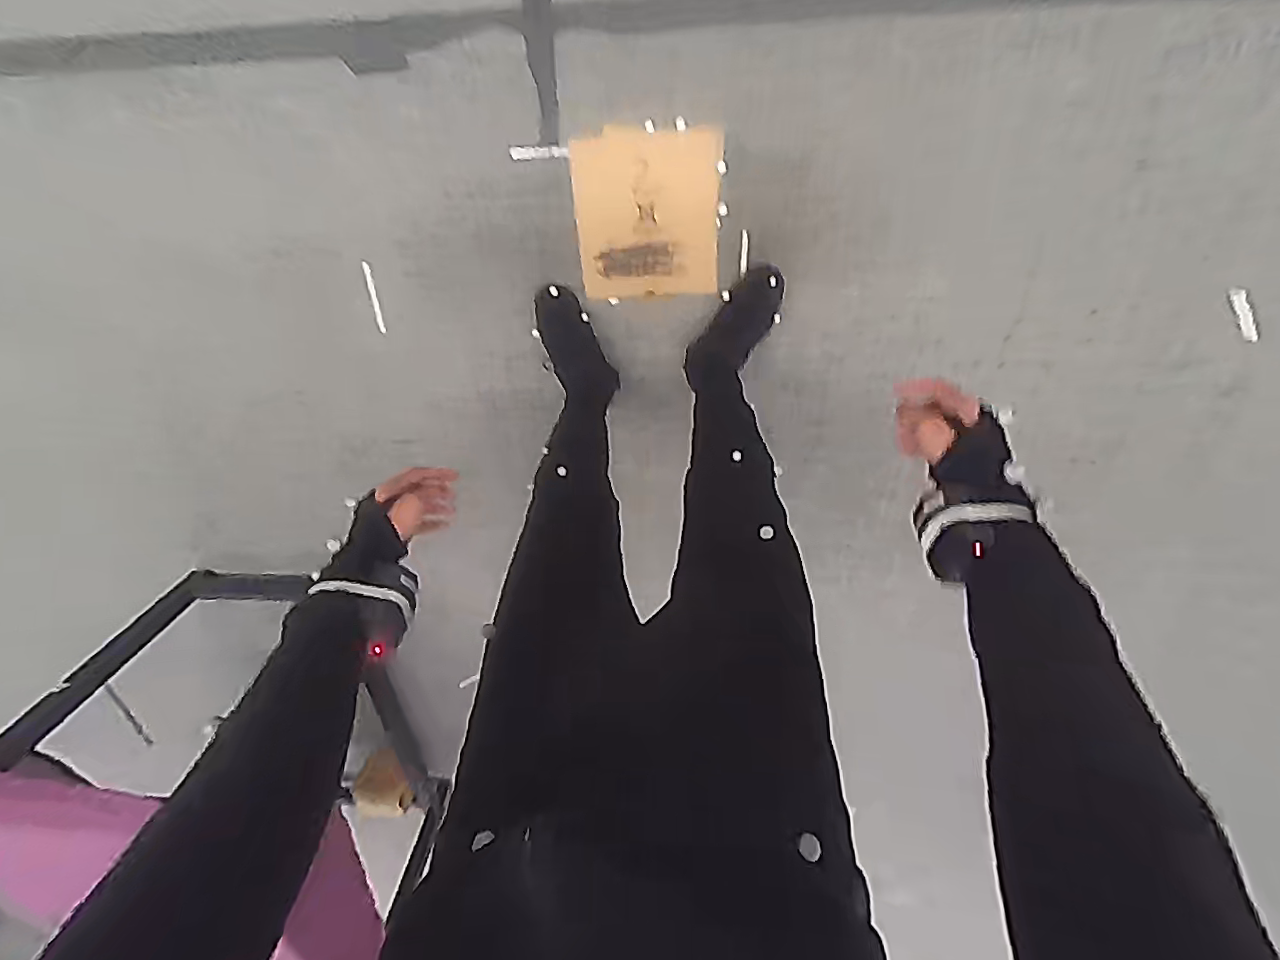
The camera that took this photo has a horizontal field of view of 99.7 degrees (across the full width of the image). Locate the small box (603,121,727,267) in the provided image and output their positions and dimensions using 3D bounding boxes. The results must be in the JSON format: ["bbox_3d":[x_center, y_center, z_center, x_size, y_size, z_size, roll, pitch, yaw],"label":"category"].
[{"bbox_3d":[0.034,-0.439,0.827,0.168,0.176,0.179,4,123,2],"label":"small box"}]
